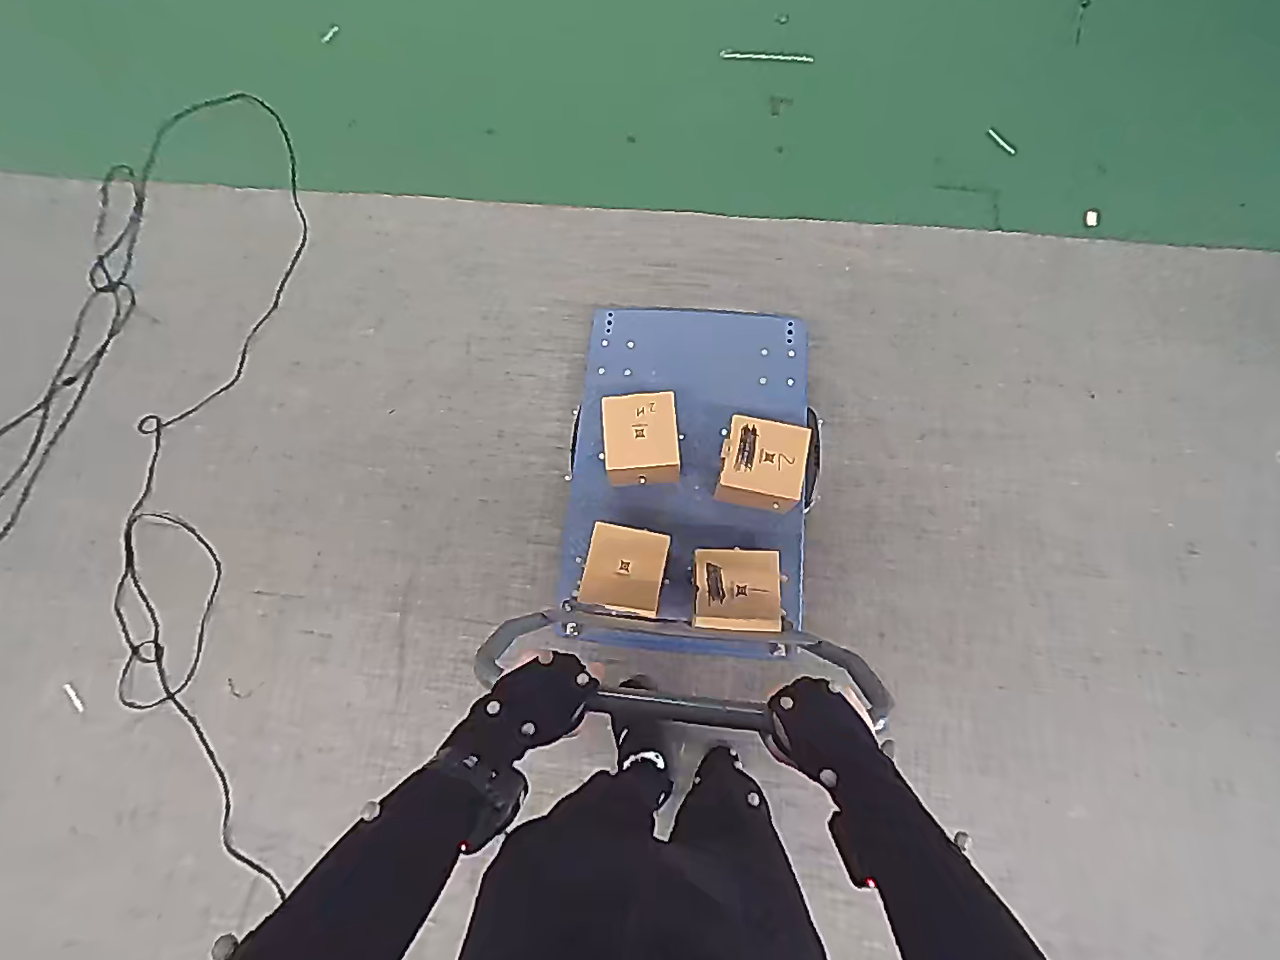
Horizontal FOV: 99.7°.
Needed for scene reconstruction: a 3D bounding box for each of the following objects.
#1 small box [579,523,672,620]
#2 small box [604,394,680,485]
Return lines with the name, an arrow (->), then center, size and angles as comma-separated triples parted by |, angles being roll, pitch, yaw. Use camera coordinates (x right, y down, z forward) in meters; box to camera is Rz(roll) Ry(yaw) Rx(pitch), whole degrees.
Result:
small box -> -0.027, 0.208, 1.209 | 0.168, 0.176, 0.179 | 11, 77, 5
small box -> 0.007, -0.087, 1.279 | 0.168, 0.176, 0.179 | -4, 76, 2
